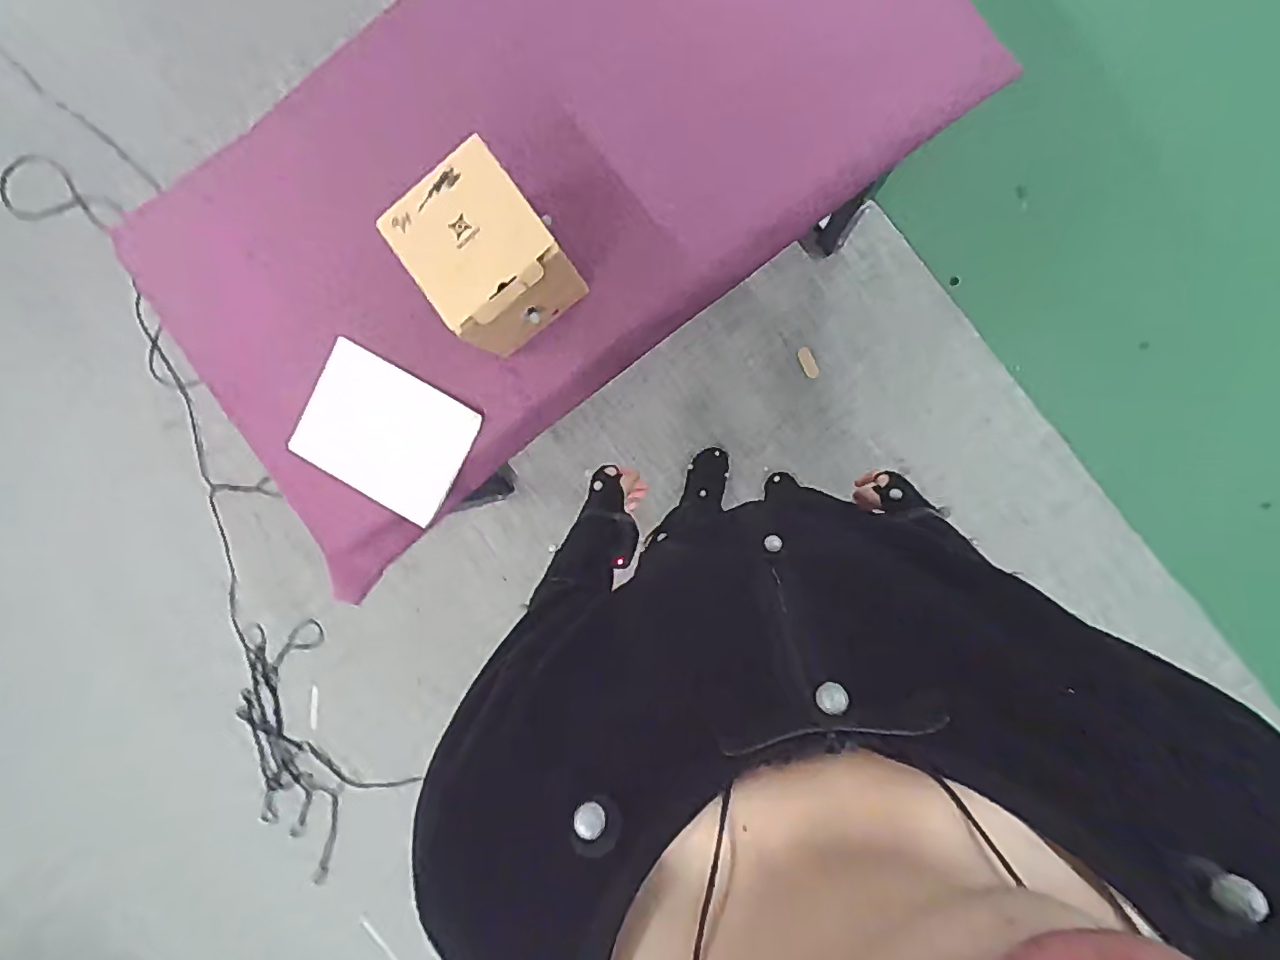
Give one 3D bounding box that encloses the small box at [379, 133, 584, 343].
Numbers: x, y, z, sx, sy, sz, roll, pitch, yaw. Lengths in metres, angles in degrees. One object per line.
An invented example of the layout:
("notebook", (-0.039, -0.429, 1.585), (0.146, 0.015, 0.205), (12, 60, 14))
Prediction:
("small box", (-0.197, -0.303, 0.729), (0.168, 0.176, 0.179), (-36, 89, 7))
